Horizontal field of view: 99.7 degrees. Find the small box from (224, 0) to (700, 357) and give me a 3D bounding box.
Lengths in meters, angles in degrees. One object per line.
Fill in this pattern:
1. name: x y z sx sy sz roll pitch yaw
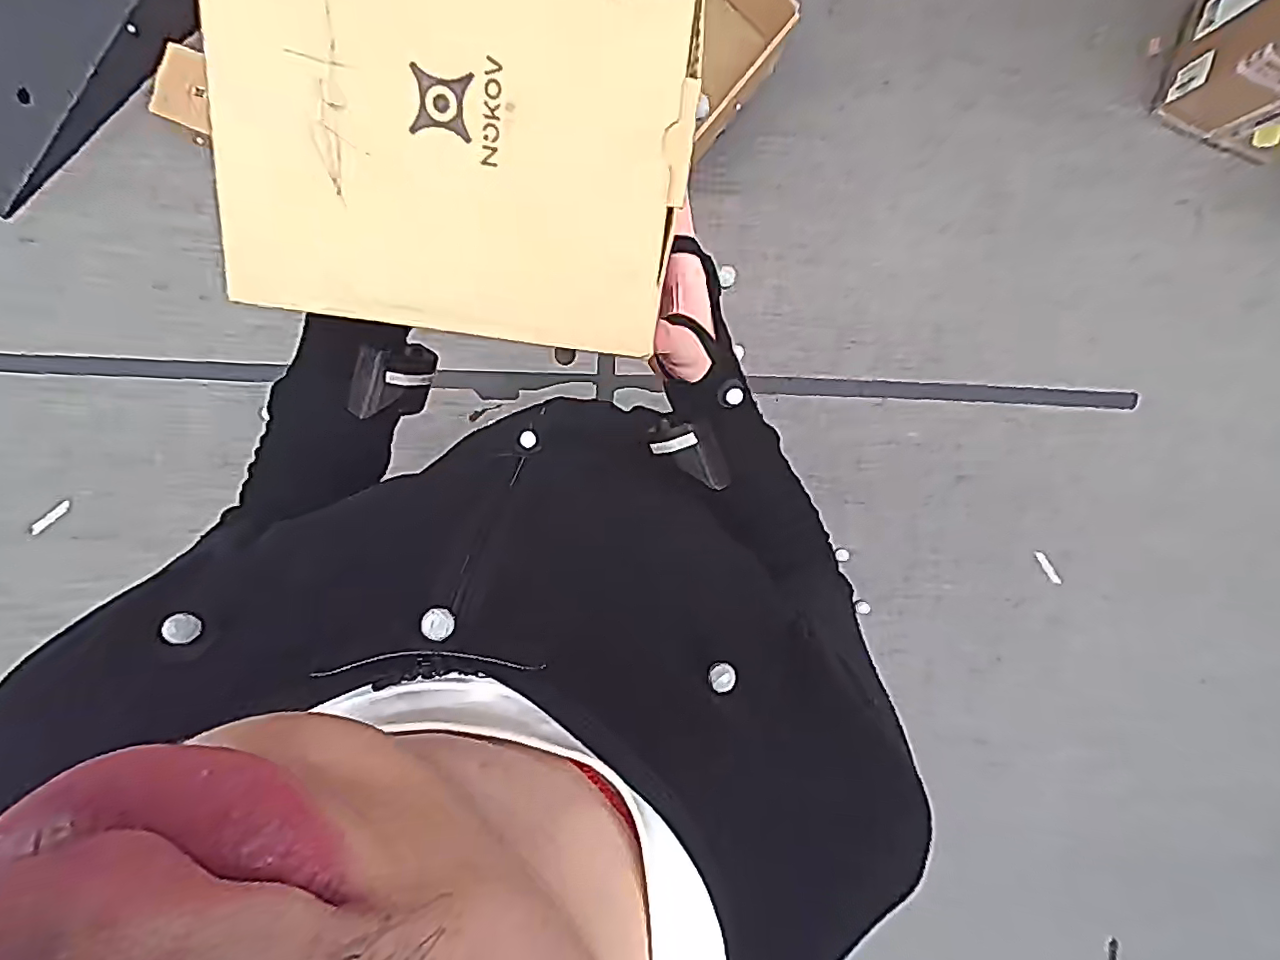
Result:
1. small box: -0.075 -0.167 0.290 0.179 0.176 0.168 7 107 -4
